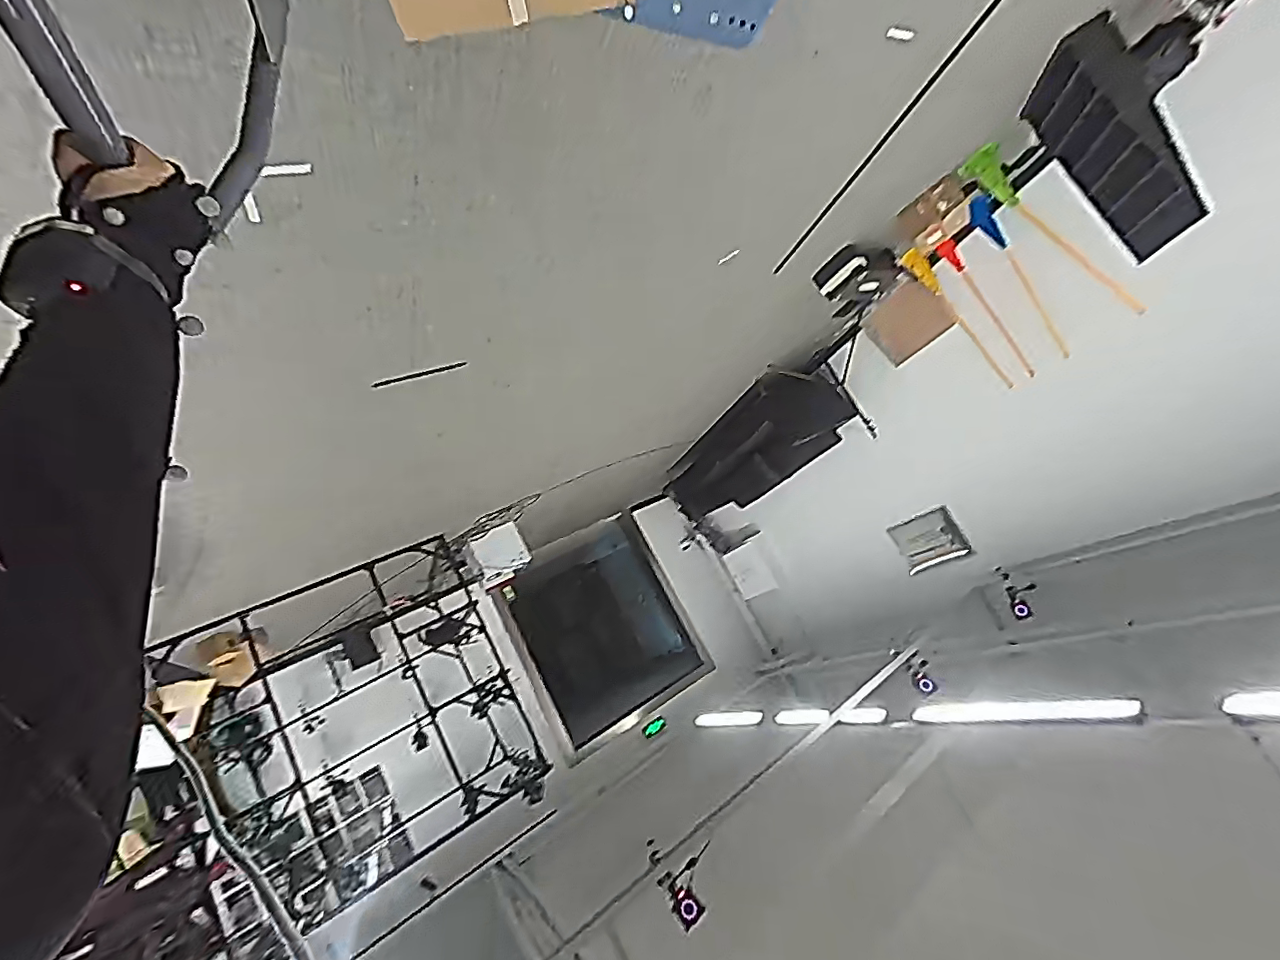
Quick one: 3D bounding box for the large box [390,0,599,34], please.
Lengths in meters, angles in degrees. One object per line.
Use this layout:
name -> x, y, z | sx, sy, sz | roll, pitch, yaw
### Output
large box -> -0.200, -0.816, 0.572 | 0.320, 0.320, 0.408 | -11, 163, -2
